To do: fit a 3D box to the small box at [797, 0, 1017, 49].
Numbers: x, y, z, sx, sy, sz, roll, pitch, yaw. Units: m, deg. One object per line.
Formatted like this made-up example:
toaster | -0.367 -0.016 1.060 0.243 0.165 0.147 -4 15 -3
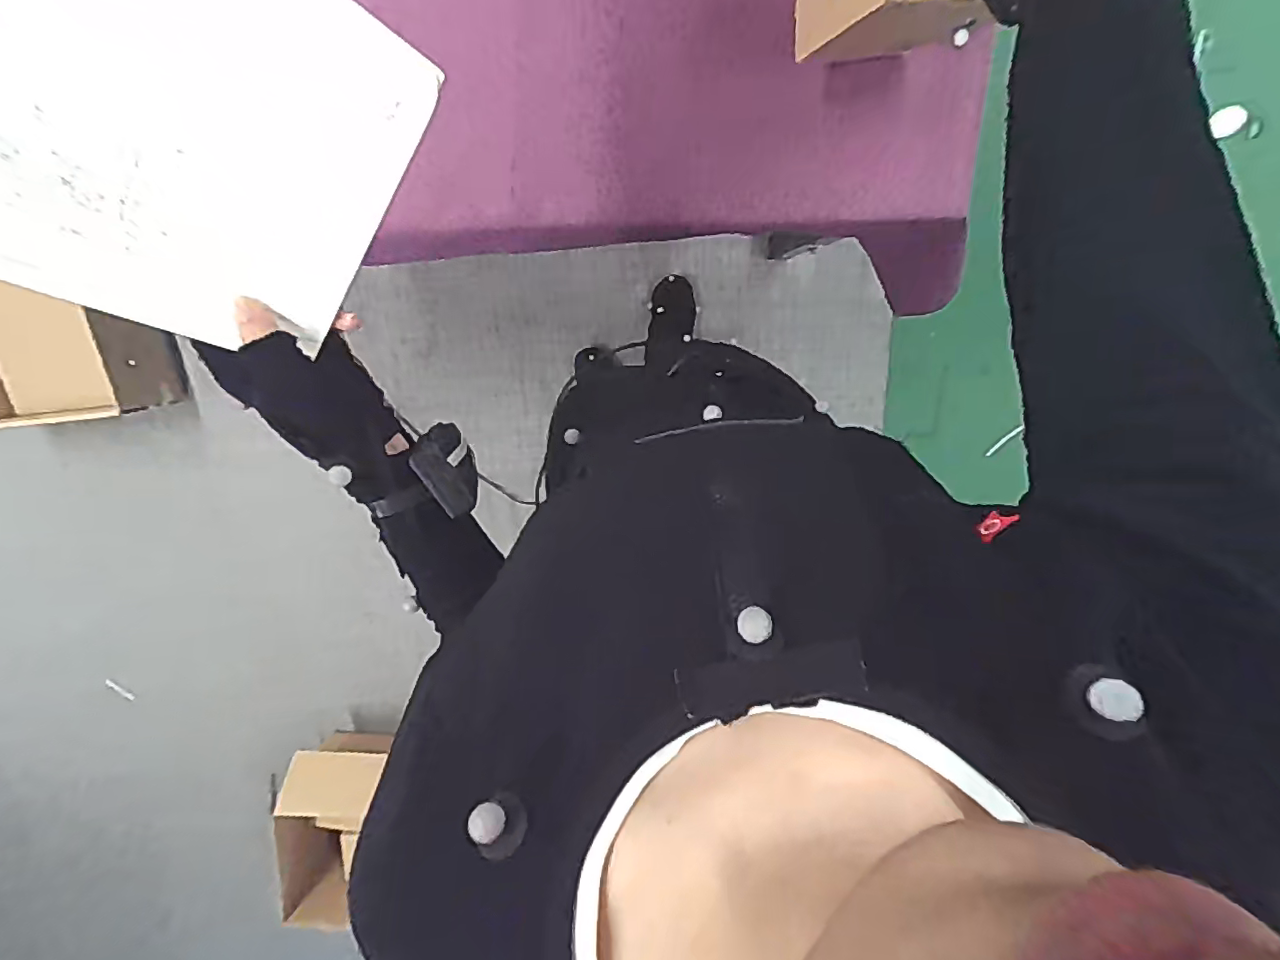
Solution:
small box | 0.238 -0.482 0.442 0.168 0.176 0.179 -10 116 -5
